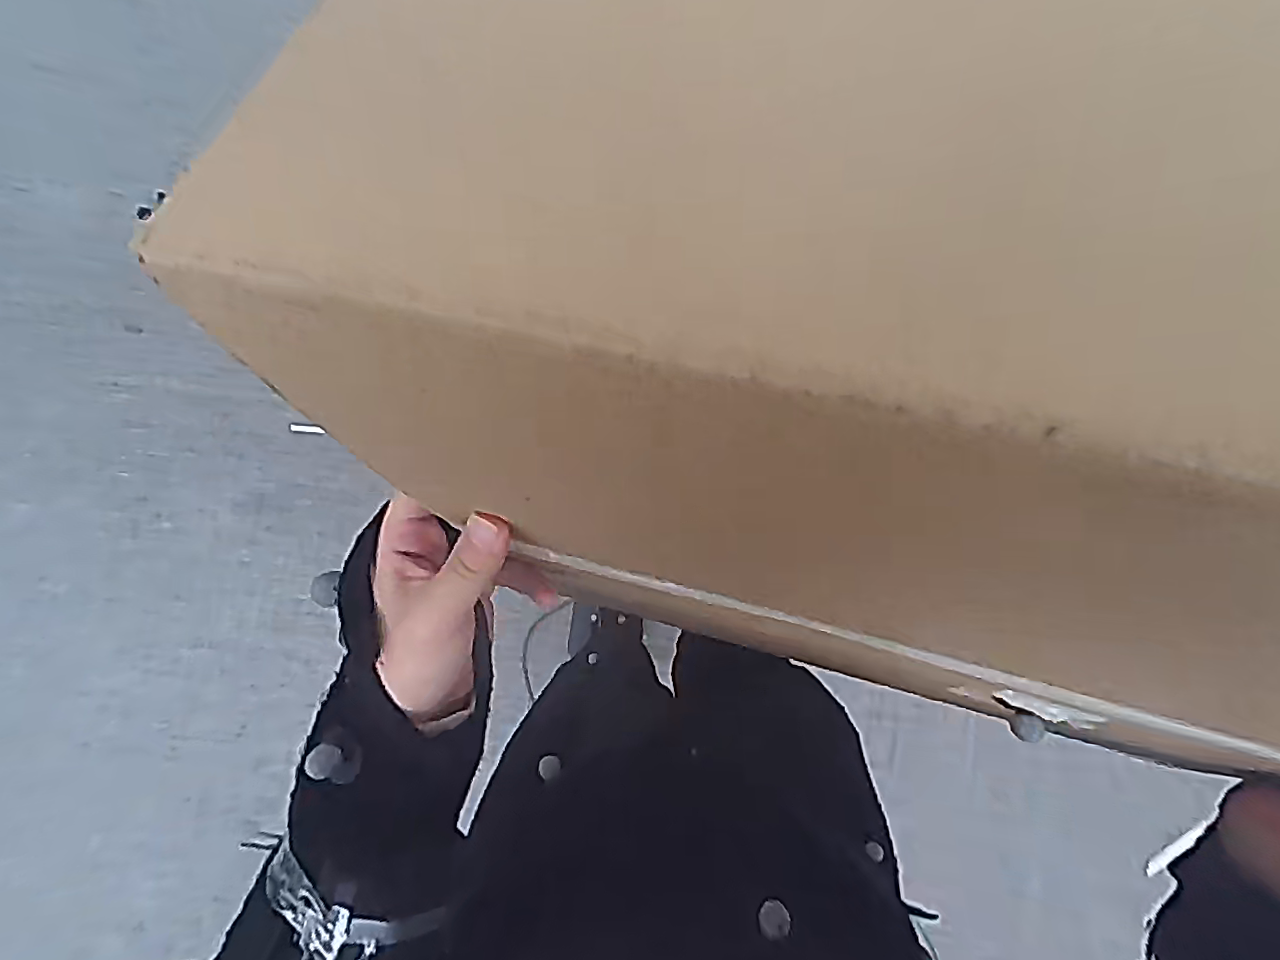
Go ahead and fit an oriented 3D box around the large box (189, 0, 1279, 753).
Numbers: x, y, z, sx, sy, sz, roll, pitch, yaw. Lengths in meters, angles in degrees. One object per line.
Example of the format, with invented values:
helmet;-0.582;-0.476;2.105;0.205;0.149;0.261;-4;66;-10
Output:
large box;0.147;-0.086;0.261;0.408;0.320;0.320;13;70;8
